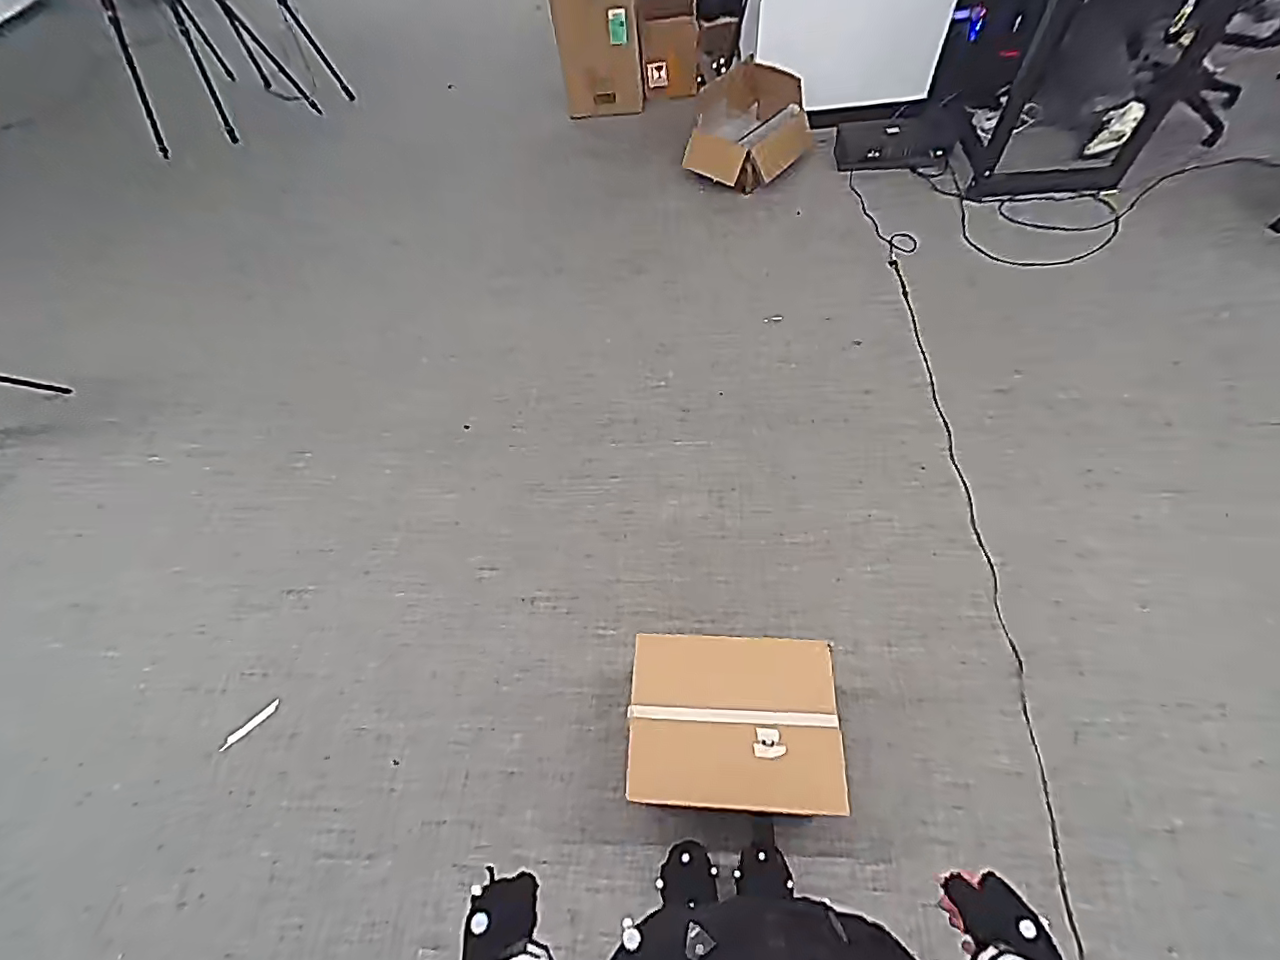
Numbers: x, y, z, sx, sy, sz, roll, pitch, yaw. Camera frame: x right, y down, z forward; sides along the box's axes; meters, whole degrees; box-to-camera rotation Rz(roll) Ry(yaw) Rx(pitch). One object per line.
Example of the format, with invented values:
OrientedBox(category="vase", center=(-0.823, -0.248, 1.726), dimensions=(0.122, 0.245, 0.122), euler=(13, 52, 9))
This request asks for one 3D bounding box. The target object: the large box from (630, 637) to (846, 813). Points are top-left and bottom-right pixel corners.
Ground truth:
OrientedBox(category="large box", center=(0.192, 0.548, 1.196), dimensions=(0.408, 0.320, 0.320), euler=(0, 59, 5))
